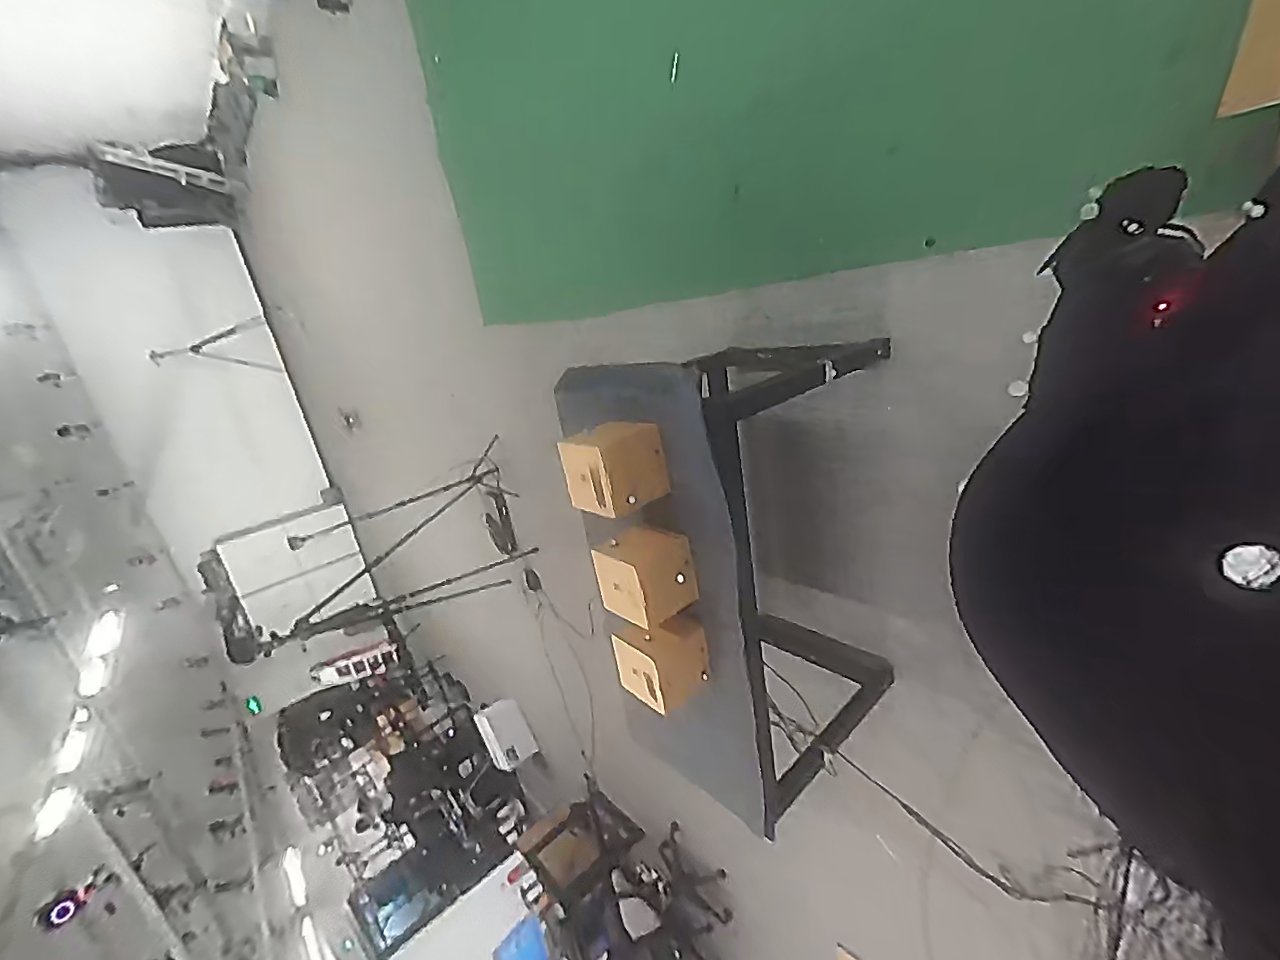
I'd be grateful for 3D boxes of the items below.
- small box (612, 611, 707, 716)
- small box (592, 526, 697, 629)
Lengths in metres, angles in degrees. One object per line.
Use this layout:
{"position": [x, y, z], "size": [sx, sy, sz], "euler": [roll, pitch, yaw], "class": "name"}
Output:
{"position": [0.058, 0.452, 1.377], "size": [0.179, 0.176, 0.168], "euler": [13, 119, 49], "class": "small box"}
{"position": [0.013, 0.225, 1.302], "size": [0.179, 0.176, 0.168], "euler": [10, 118, 49], "class": "small box"}
